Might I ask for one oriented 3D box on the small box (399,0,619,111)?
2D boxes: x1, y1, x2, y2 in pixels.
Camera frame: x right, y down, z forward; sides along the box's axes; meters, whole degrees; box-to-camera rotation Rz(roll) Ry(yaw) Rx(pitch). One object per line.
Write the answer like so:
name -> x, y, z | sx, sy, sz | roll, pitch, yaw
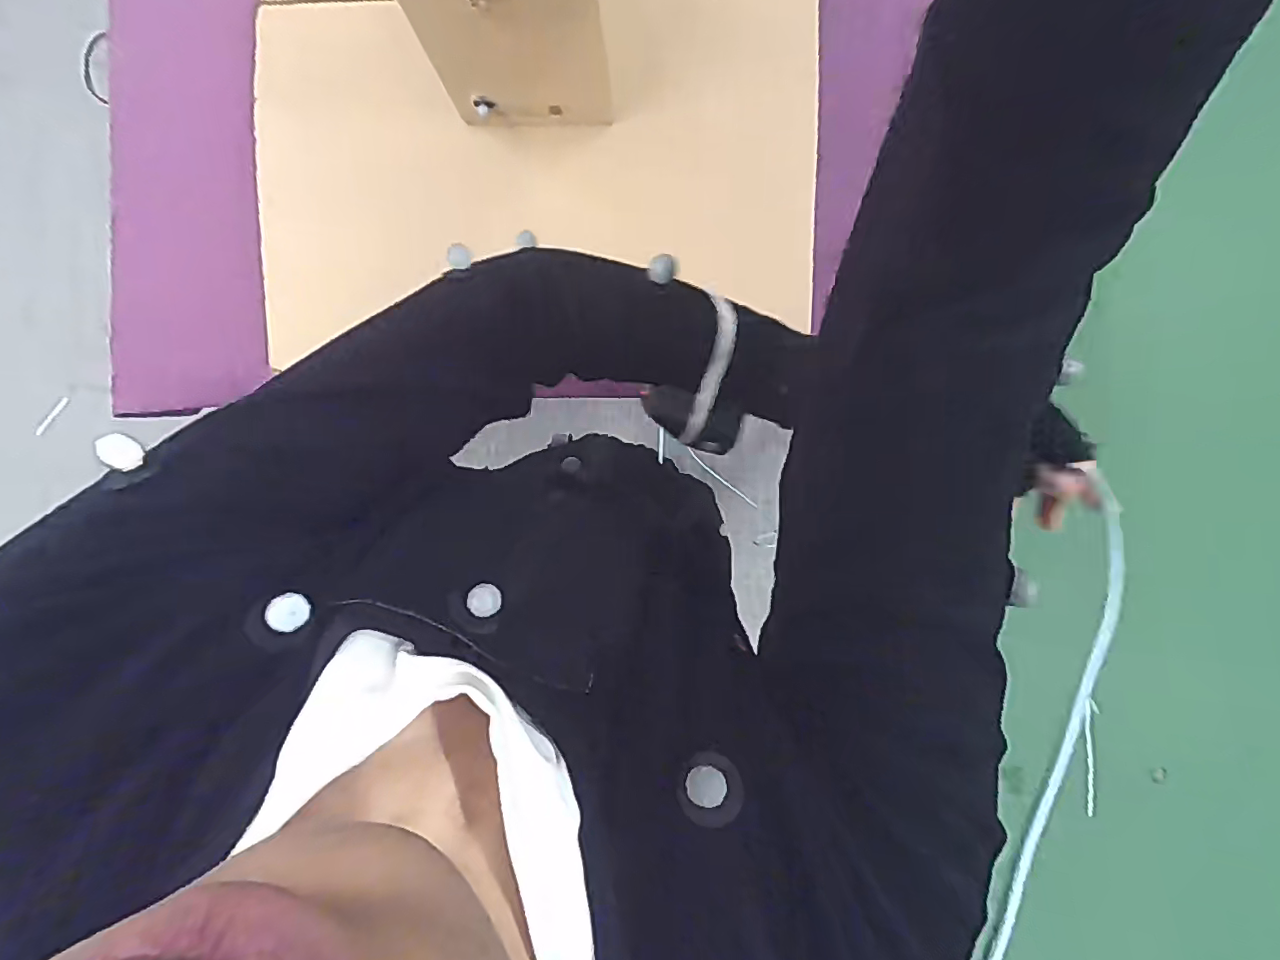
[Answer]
small box -> -0.108, -0.467, 0.490 | 0.168, 0.176, 0.179 | -2, 91, 2
